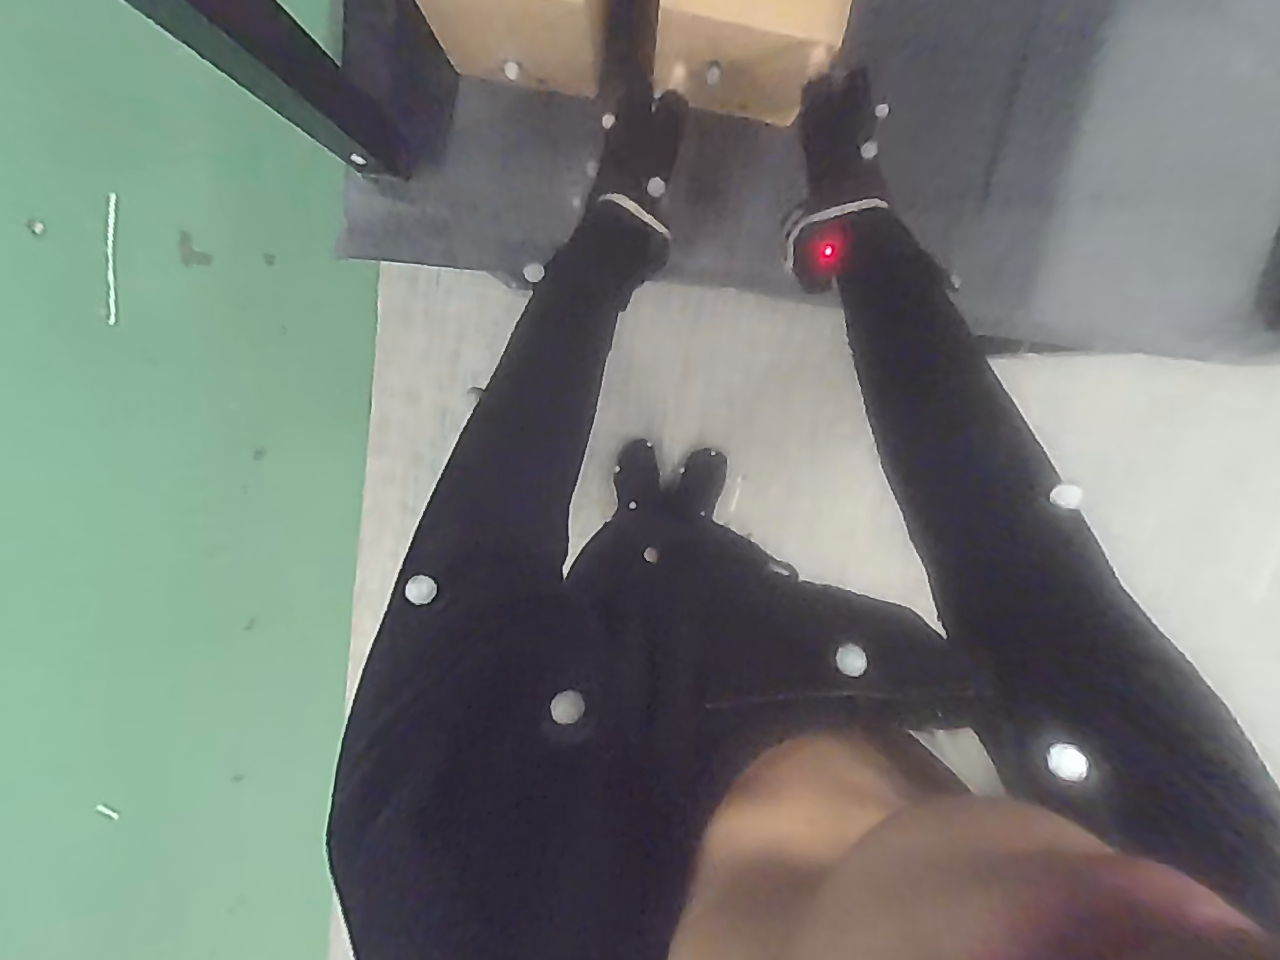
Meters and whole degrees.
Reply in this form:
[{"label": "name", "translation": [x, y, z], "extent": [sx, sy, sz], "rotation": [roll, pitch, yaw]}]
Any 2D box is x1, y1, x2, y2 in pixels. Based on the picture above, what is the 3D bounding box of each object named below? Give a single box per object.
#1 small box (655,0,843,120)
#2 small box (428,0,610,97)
[{"label": "small box", "translation": [0.109, -0.501, 0.543], "extent": [0.168, 0.176, 0.179], "rotation": [10, 100, -3]}, {"label": "small box", "translation": [-0.117, -0.527, 0.533], "extent": [0.168, 0.176, 0.179], "rotation": [9, 101, -3]}]
